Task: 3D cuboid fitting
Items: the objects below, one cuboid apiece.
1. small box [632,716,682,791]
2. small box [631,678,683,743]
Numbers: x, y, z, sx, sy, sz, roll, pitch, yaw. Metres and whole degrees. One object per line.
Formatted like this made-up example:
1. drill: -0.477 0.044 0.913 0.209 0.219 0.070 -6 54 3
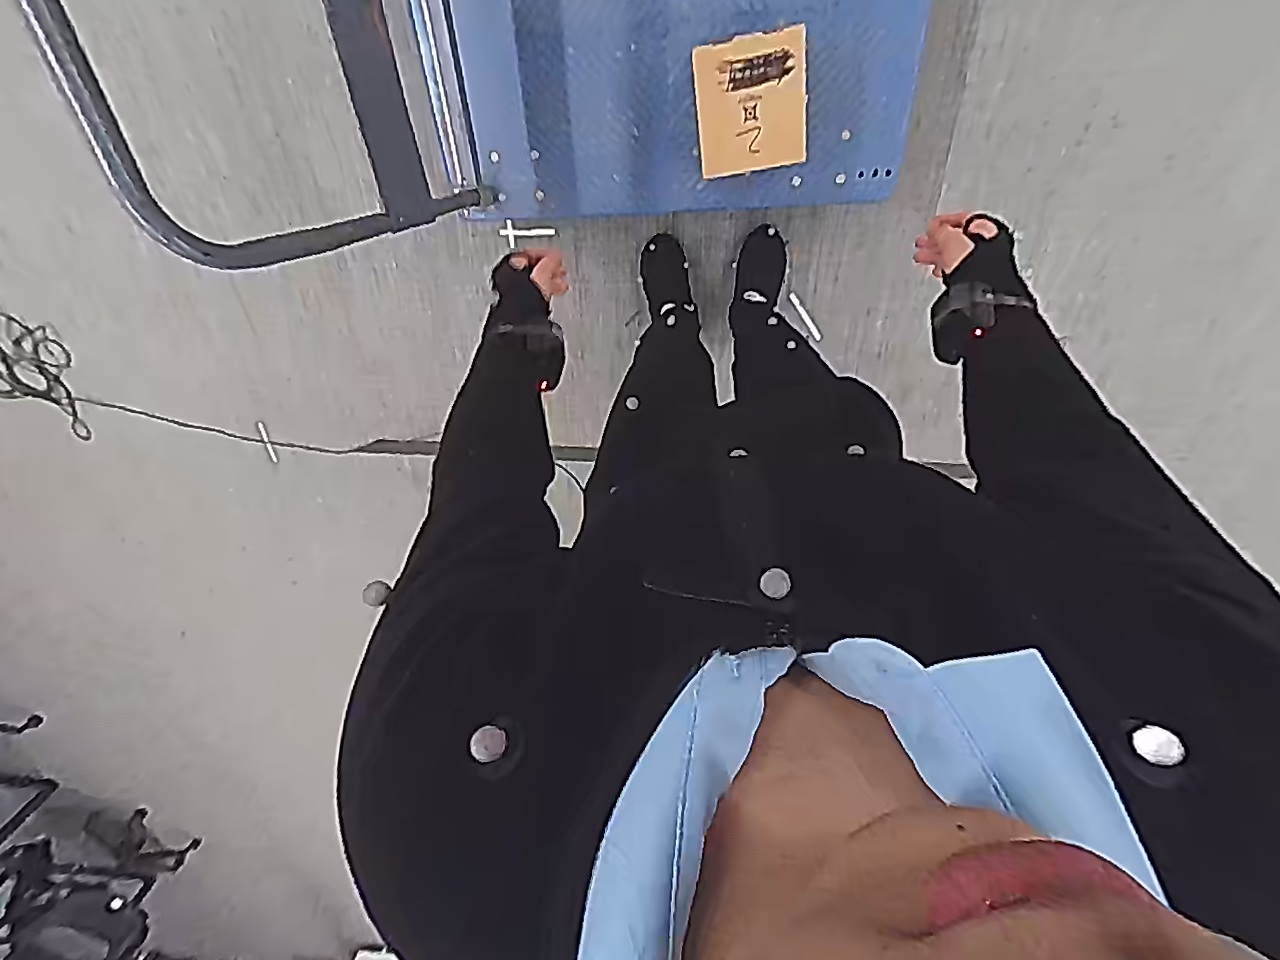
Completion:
1. small box: 0.062 0.974 1.929 0.168 0.176 0.179 2 122 5
2. small box: 0.070 0.882 2.064 0.168 0.176 0.179 -9 120 11
